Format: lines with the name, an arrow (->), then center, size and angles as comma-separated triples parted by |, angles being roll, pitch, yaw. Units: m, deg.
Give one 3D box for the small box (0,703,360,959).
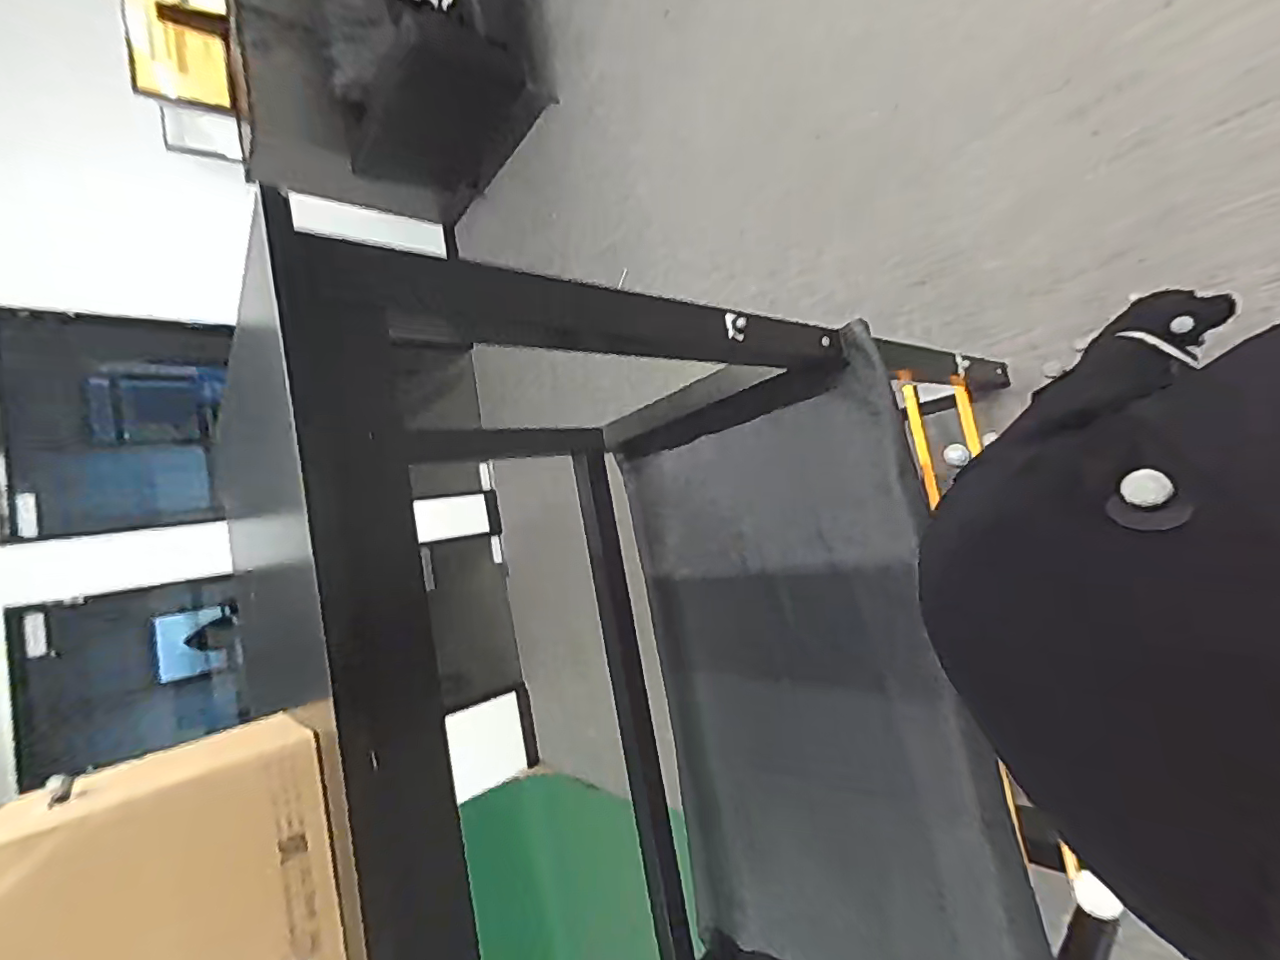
small box -> -0.295, 0.258, 0.352 | 0.179, 0.176, 0.168 | -23, 77, 49
